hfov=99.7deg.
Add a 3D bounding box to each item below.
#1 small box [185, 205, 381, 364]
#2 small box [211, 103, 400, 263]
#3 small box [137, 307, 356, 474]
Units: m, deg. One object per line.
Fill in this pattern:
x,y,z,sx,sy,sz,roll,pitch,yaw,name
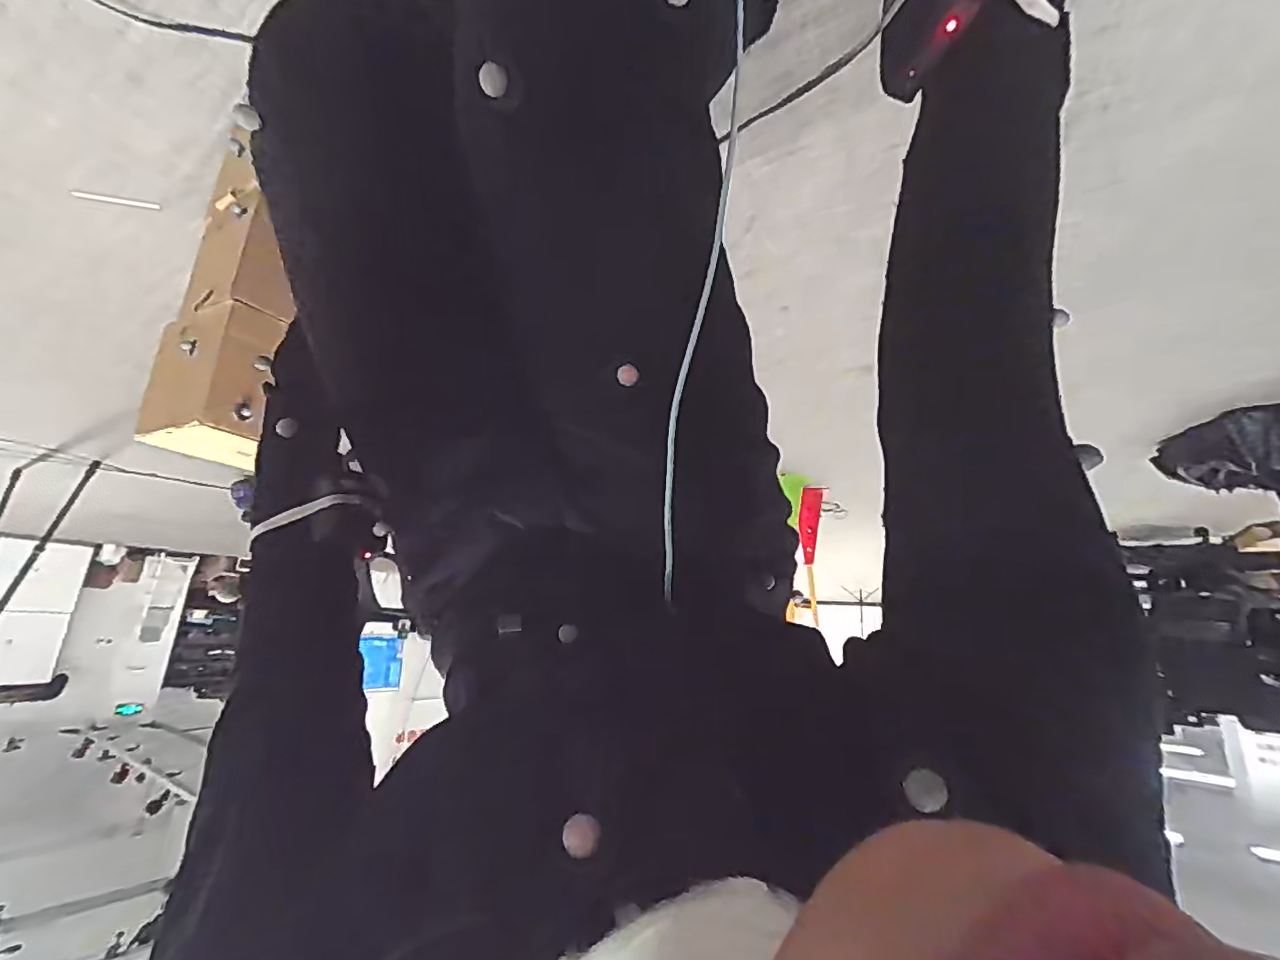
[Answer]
-0.516,-0.271,0.795,0.168,0.176,0.179,-6,163,31,small box
-0.505,-0.433,0.832,0.168,0.176,0.179,-4,162,35,small box
-0.533,-0.114,0.755,0.168,0.176,0.179,-4,163,26,small box
